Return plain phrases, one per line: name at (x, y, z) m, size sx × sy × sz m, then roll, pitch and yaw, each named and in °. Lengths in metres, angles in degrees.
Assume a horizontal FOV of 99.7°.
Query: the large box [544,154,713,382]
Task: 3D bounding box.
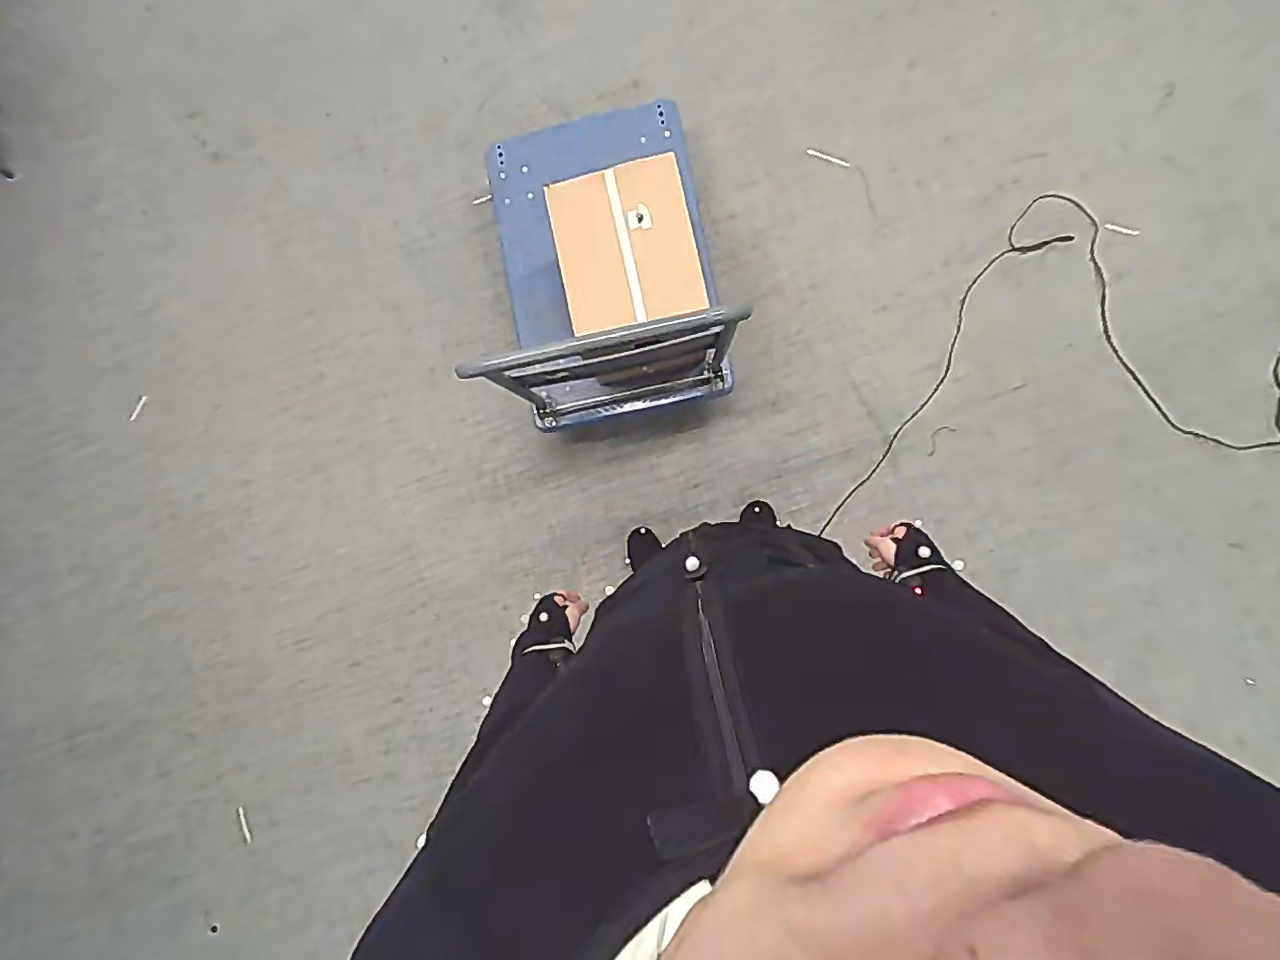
large box at (-0.017, -0.505, 1.366) m, size 0.320 × 0.320 × 0.408 m, roll -13°, pitch 85°, yaw 3°
